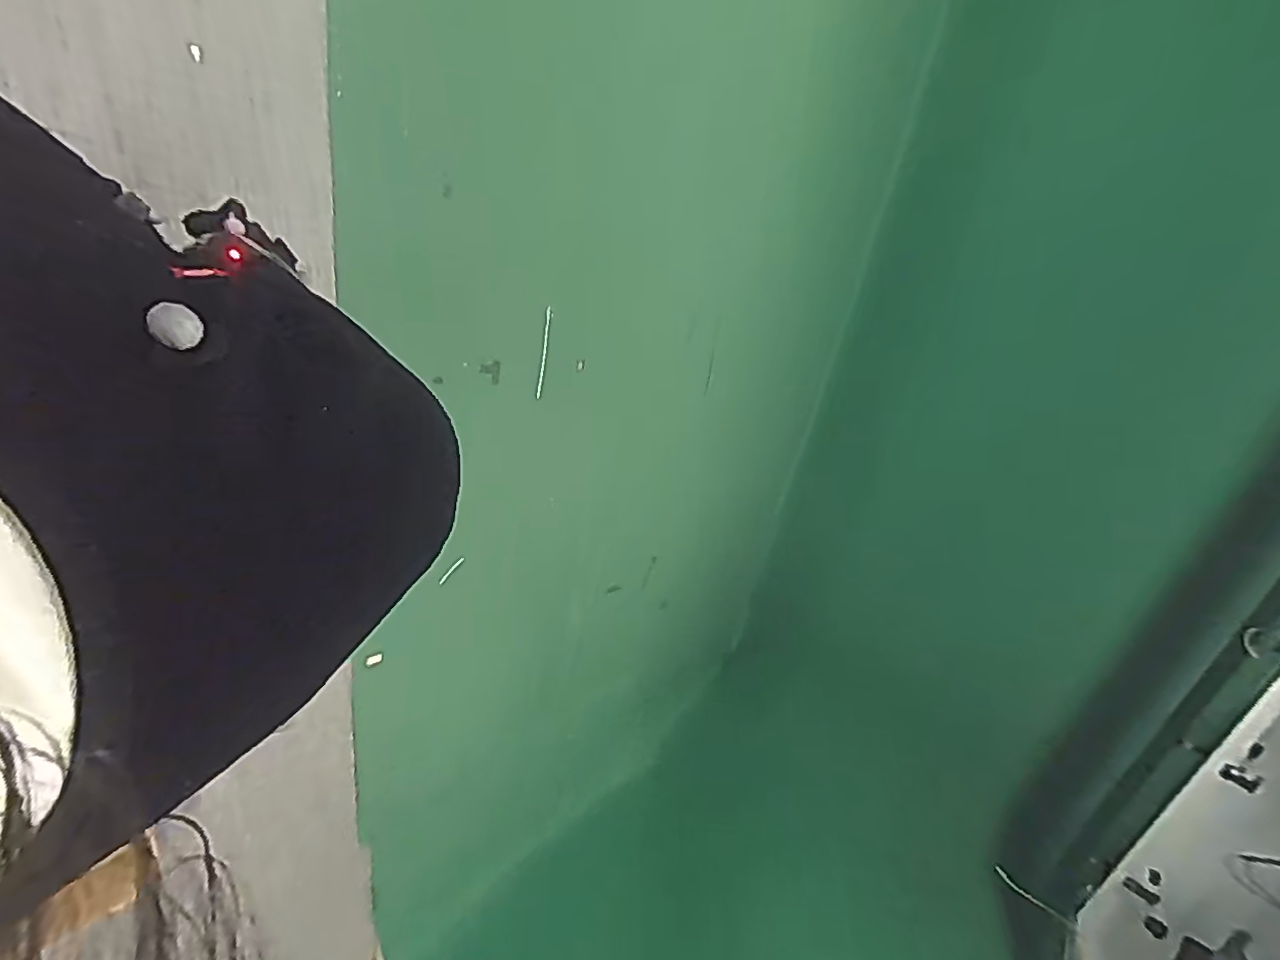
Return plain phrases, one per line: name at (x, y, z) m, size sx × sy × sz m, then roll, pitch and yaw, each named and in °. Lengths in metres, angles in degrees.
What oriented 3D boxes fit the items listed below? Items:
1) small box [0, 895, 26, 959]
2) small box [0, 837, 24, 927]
small box at (-1.280, 0.917, 0.991) m, size 0.179 × 0.176 × 0.168 m, roll -25°, pitch 133°, yaw -41°
small box at (-1.410, 0.859, 1.100) m, size 0.168 × 0.176 × 0.179 m, roll -19°, pitch 128°, yaw -46°
